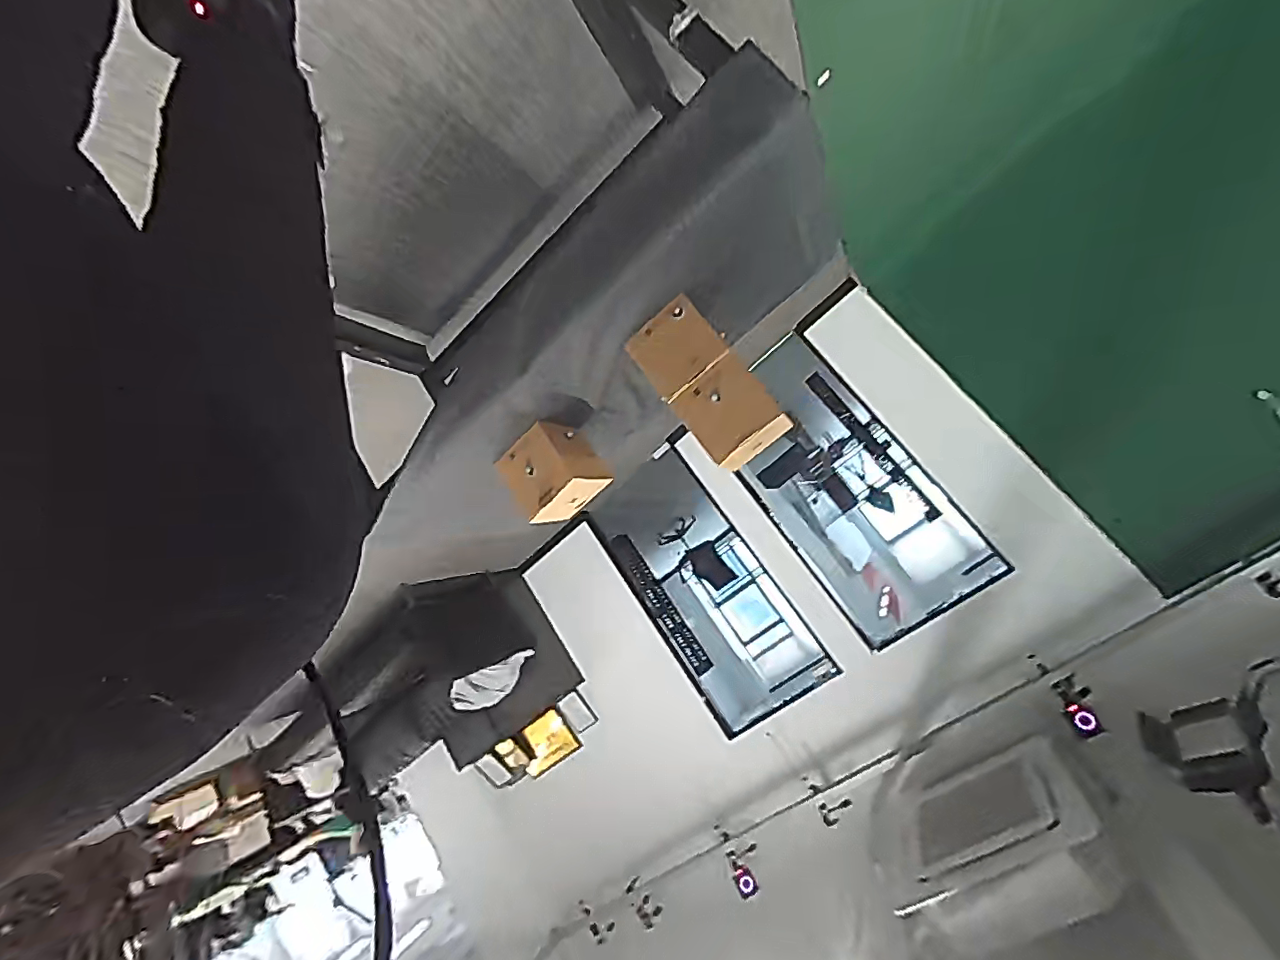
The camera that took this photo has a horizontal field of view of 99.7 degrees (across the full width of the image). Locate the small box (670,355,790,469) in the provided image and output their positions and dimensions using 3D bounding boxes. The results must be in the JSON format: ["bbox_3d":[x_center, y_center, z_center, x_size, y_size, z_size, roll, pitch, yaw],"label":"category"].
[{"bbox_3d":[0.194,-0.141,1.154,0.168,0.176,0.179,-40,163,16],"label":"small box"}]

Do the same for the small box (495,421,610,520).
[{"bbox_3d":[-0.210,-0.021,1.285,0.168,0.176,0.179,-41,163,19],"label":"small box"}]

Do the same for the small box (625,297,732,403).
[{"bbox_3d":[0.095,-0.270,1.185,0.168,0.176,0.179,-39,164,14],"label":"small box"}]
